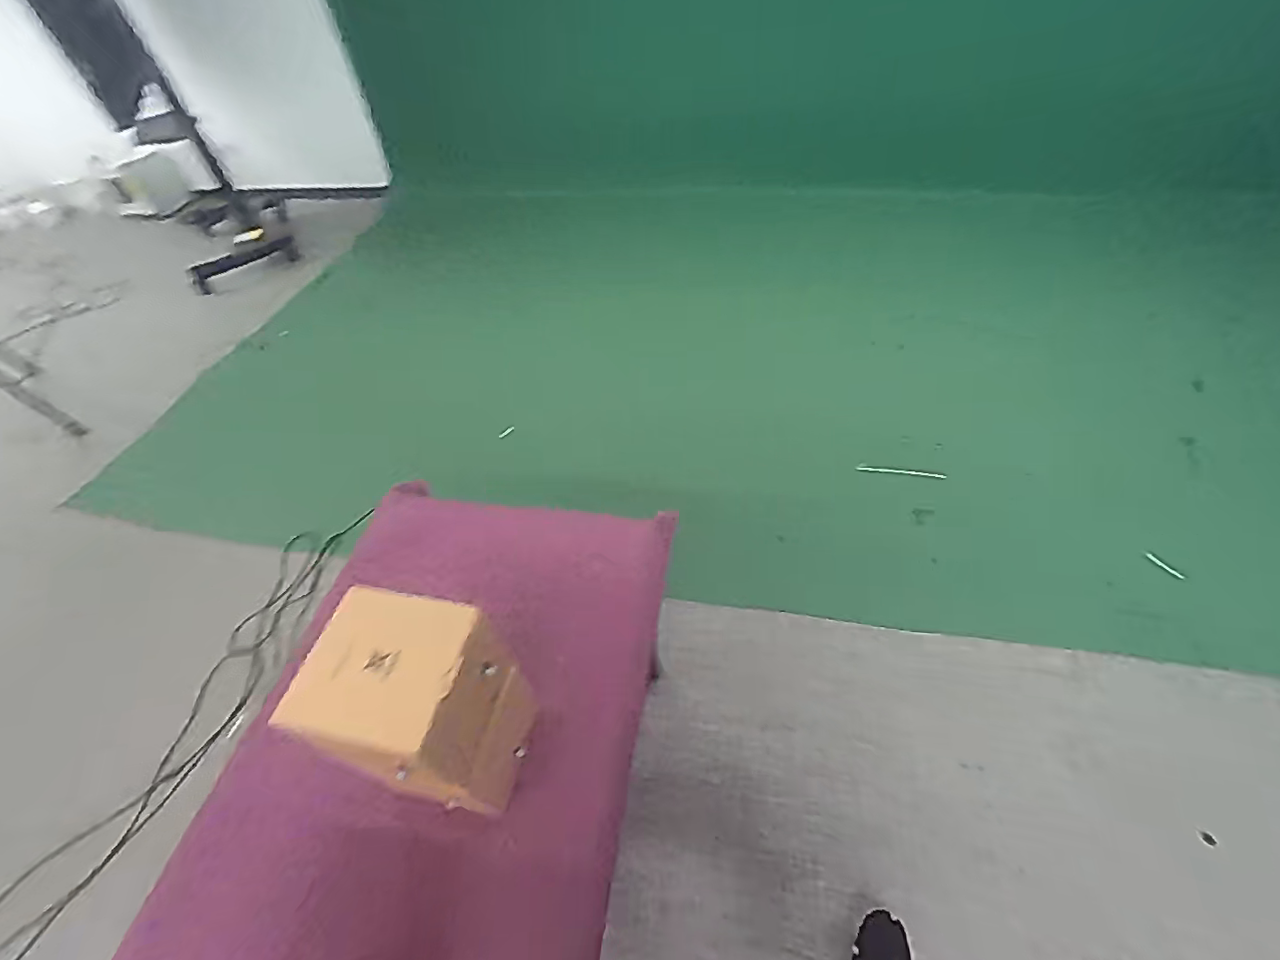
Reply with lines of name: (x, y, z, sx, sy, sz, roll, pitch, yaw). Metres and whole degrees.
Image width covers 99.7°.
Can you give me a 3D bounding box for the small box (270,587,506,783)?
small box: (-0.287, 0.256, 0.667, 0.179, 0.176, 0.168, 6, 50, 11)
